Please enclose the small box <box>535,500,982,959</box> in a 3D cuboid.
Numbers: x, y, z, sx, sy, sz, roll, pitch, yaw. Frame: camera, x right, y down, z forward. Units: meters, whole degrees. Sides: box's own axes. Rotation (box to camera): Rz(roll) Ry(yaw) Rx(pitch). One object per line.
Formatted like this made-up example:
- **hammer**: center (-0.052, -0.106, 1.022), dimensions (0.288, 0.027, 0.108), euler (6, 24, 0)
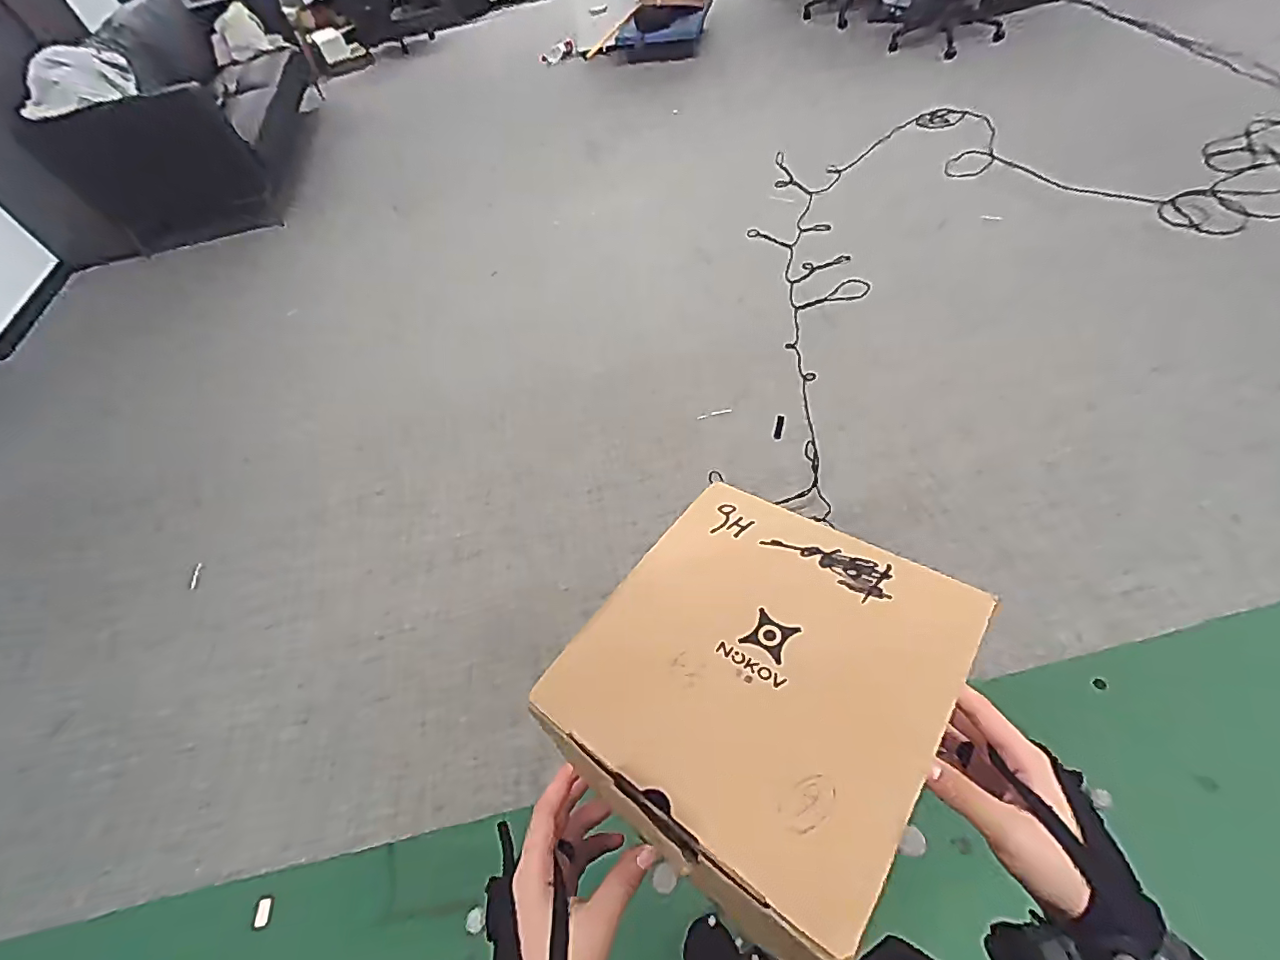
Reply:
- **small box**: center (0.073, 0.150, 0.329), dimensions (0.168, 0.176, 0.179), euler (24, 55, 32)
